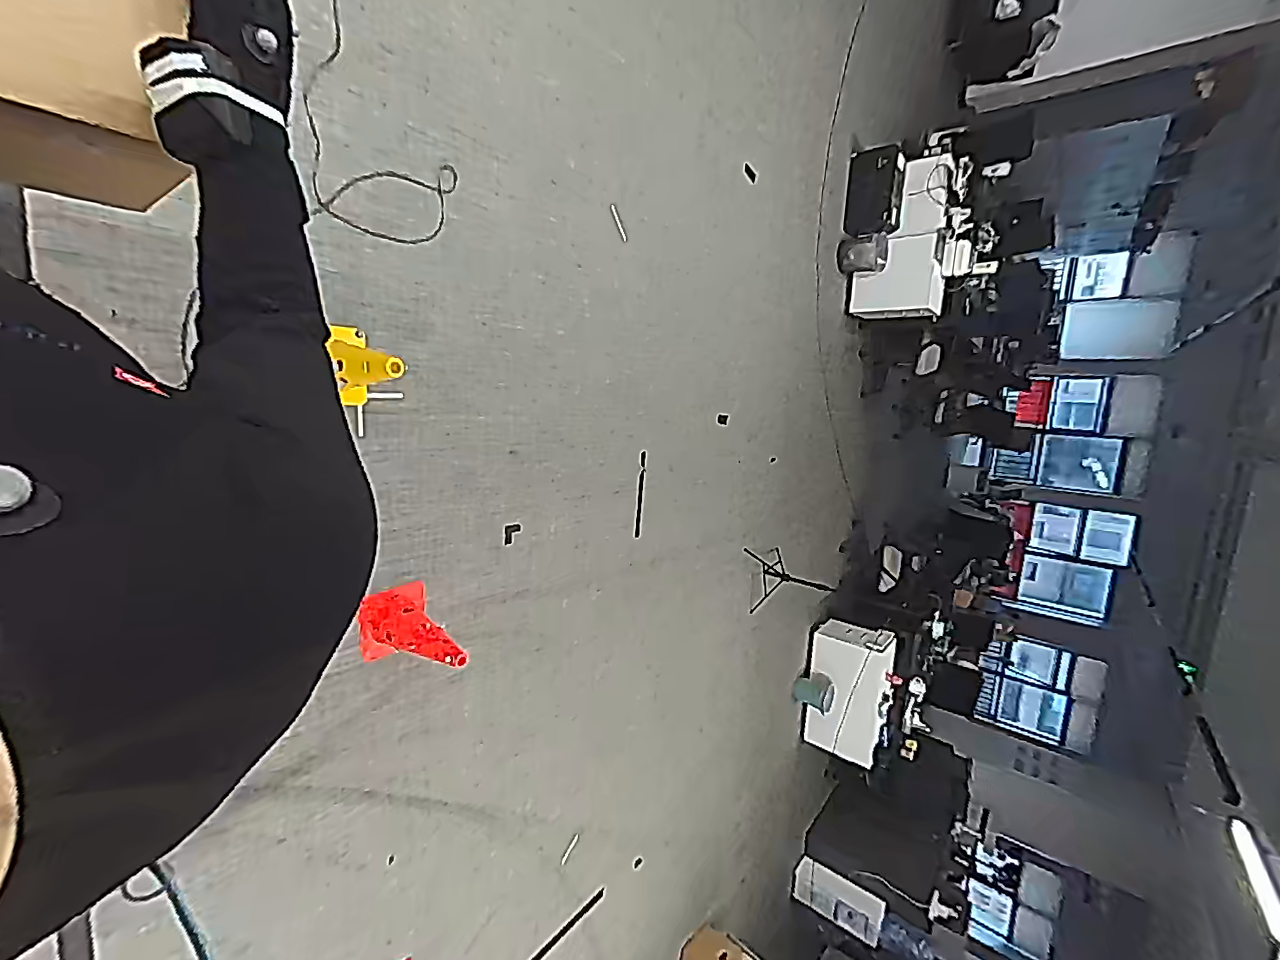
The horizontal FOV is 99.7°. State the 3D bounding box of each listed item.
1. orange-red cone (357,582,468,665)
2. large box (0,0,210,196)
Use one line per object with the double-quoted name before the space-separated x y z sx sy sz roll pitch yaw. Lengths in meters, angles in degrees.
"orange-red cone" -0.599 0.436 1.497 0.198 0.360 0.199 -12 106 -51
"large box" -0.574 -0.425 0.344 0.408 0.320 0.320 -7 106 -50
